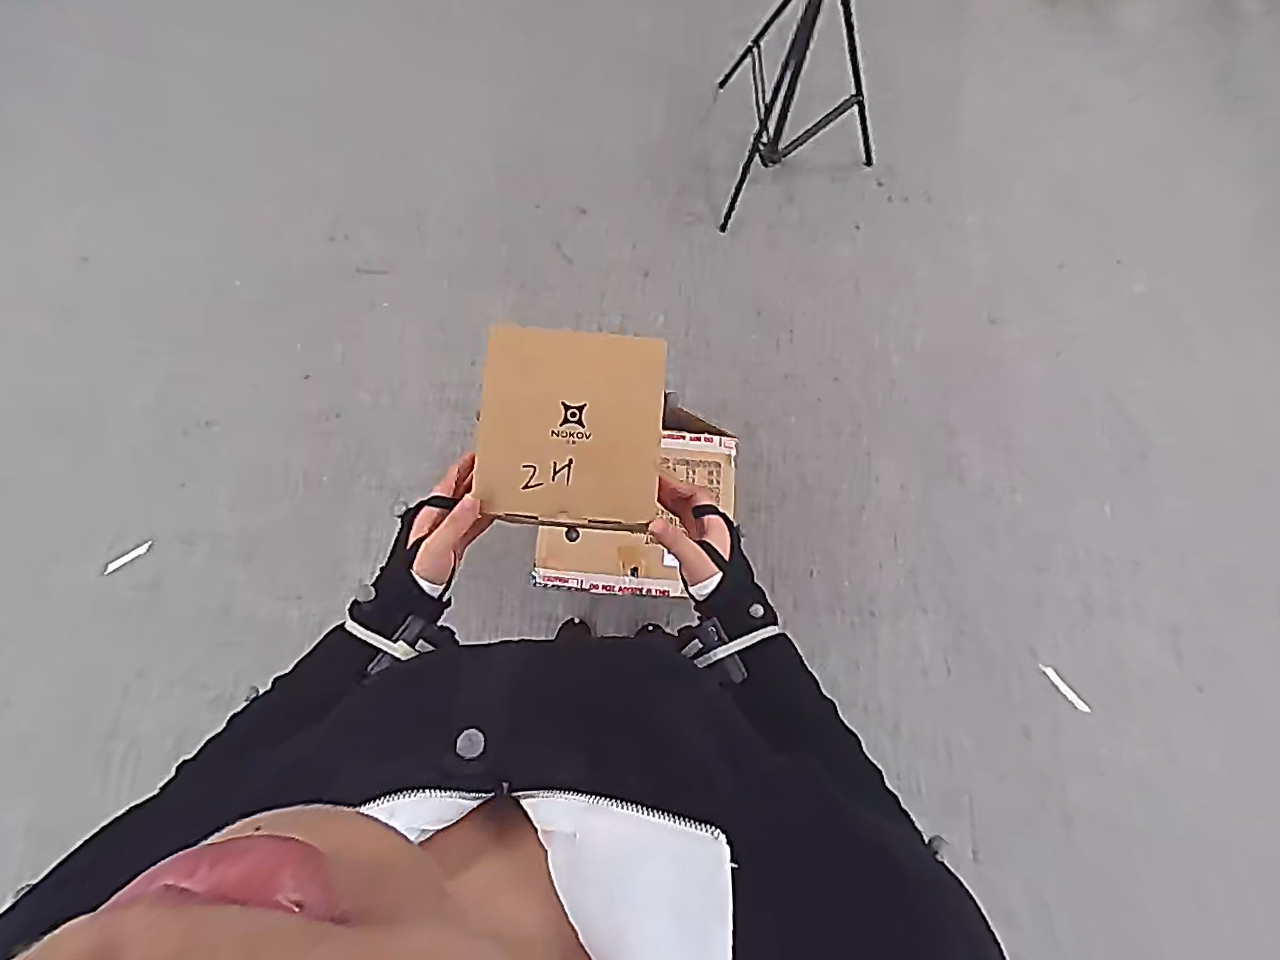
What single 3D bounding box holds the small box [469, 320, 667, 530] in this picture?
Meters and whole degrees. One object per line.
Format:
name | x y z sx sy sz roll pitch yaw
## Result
small box | -0.066 -0.044 0.563 0.168 0.176 0.179 4 82 -1
